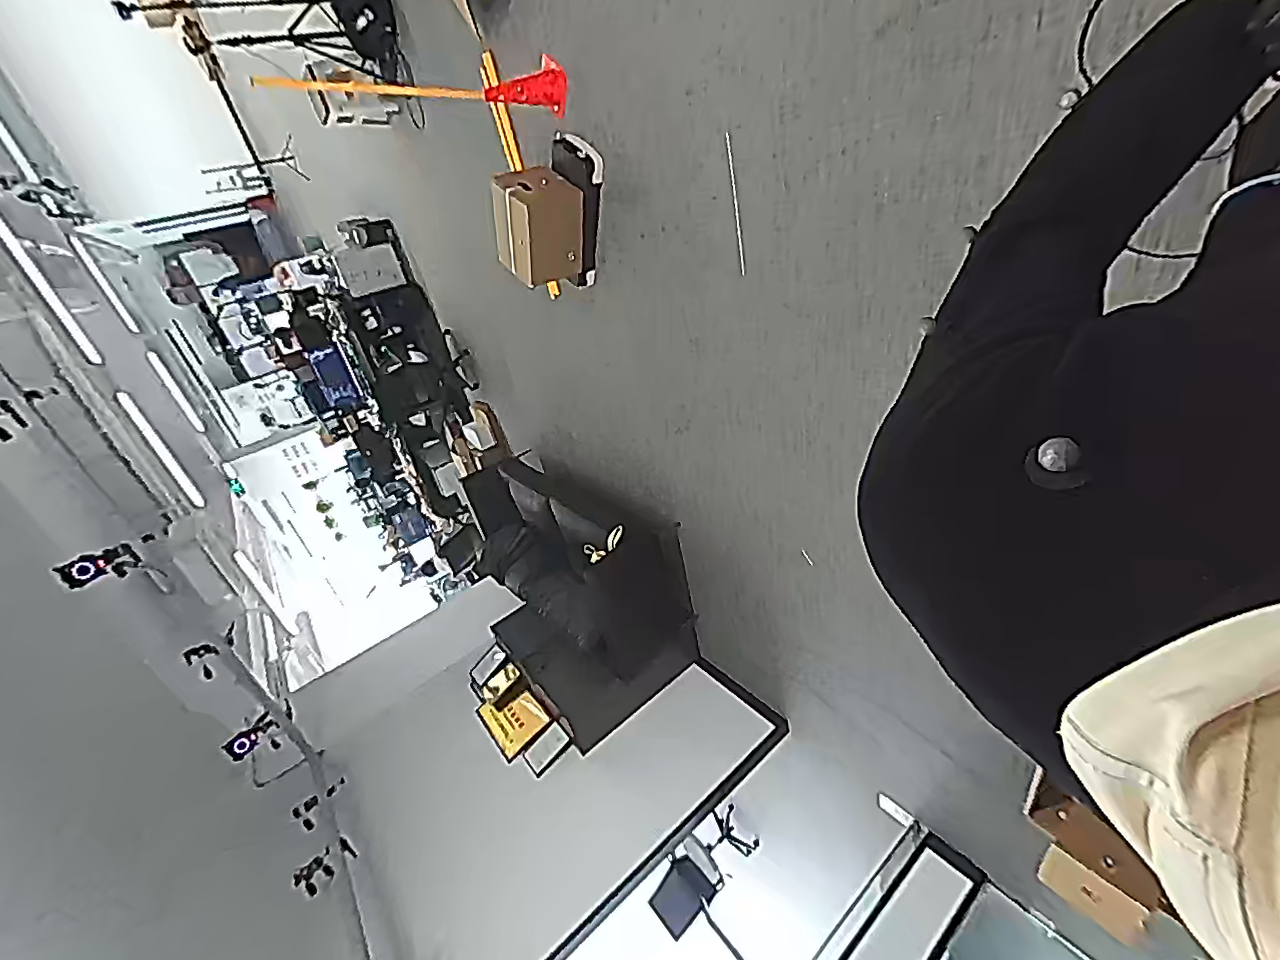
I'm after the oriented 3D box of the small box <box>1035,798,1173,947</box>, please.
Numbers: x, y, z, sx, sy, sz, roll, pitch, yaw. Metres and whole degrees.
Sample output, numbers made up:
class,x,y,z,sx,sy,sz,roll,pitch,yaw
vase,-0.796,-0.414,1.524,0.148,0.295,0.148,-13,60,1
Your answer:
class,x,y,z,sx,sy,sz,roll,pitch,yaw
small box,1.031,0.863,1.202,0.179,0.176,0.168,29,138,46

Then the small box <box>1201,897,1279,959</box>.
class,x,y,z,sx,sy,sz,roll,pitch,yaw
small box,1.188,0.945,1.010,0.168,0.176,0.179,26,138,47
